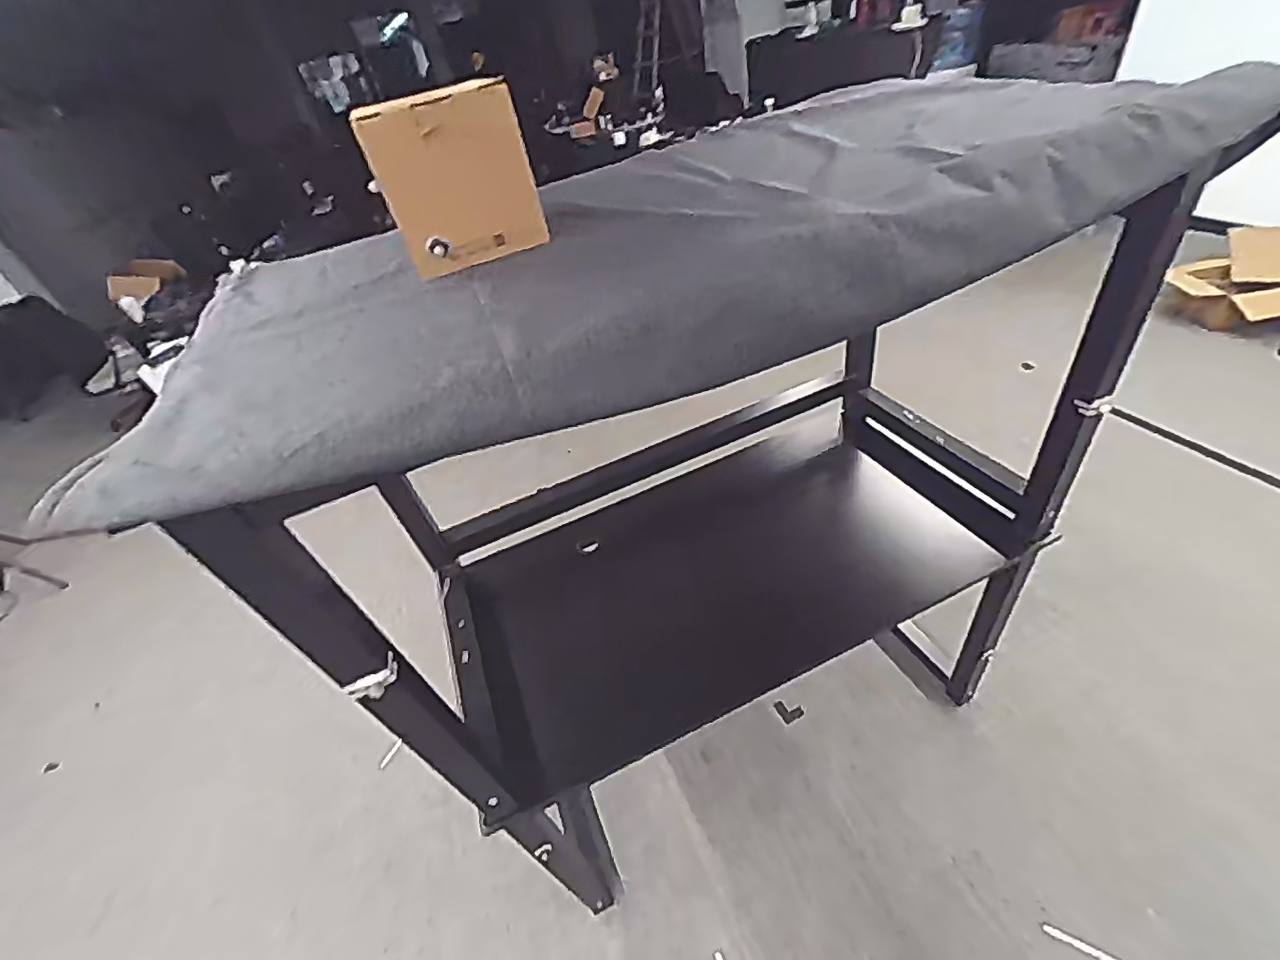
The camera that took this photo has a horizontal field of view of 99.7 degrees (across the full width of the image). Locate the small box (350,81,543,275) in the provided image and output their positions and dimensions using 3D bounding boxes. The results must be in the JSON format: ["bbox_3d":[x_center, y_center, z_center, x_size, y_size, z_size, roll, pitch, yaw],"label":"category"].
[{"bbox_3d":[-0.235,-0.374,0.674,0.168,0.176,0.179,-23,40,-11],"label":"small box"}]
